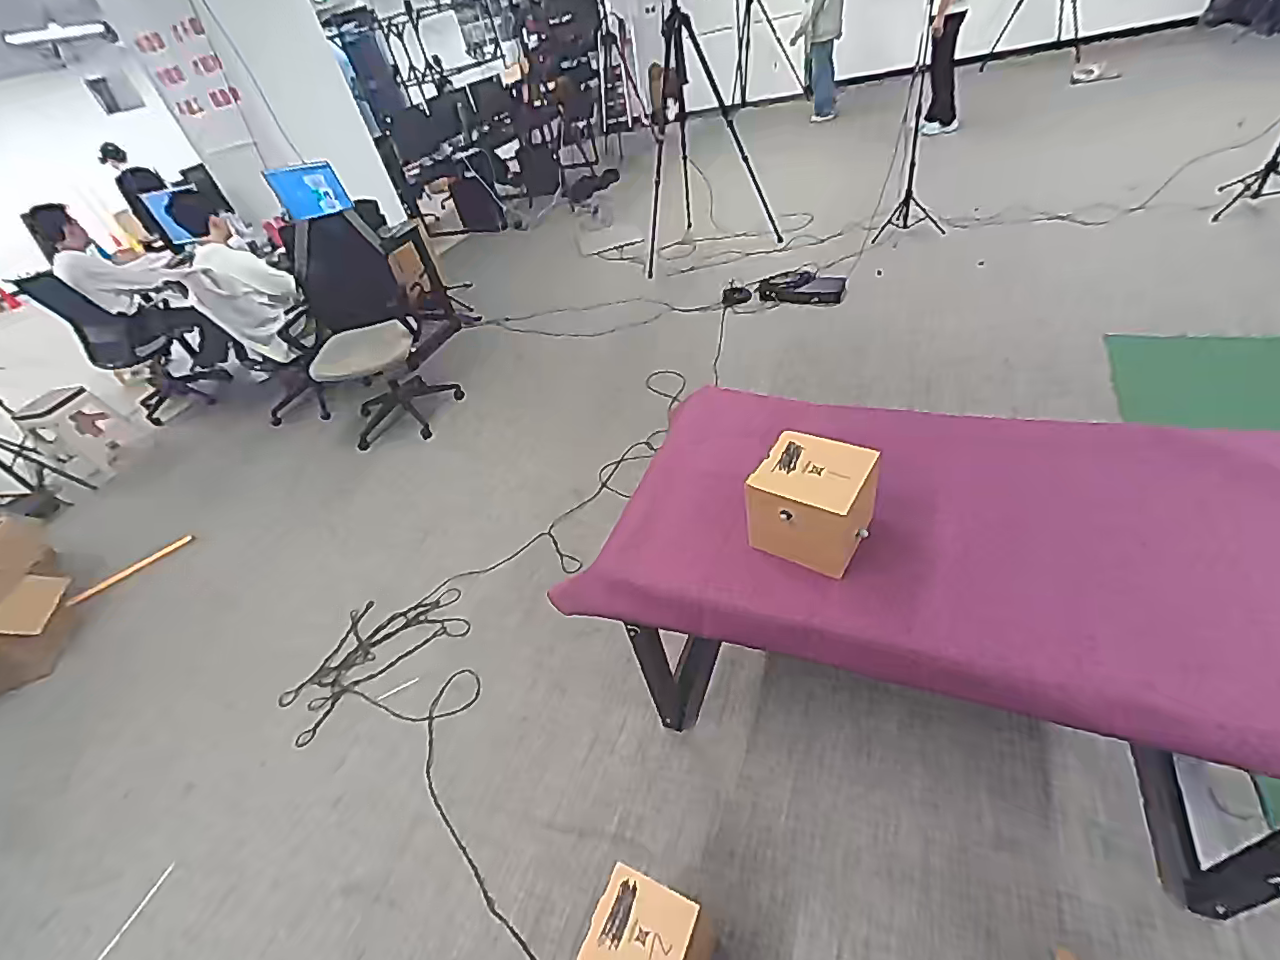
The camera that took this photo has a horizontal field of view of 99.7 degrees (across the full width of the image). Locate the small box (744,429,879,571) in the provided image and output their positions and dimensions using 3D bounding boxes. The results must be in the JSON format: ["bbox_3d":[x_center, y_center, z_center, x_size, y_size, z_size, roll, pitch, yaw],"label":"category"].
[{"bbox_3d":[0.306,0.036,0.975,0.179,0.176,0.168,20,52,32],"label":"small box"}]

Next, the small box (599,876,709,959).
[{"bbox_3d":[0.035,0.973,1.118,0.168,0.176,0.179,11,48,26],"label":"small box"}]
